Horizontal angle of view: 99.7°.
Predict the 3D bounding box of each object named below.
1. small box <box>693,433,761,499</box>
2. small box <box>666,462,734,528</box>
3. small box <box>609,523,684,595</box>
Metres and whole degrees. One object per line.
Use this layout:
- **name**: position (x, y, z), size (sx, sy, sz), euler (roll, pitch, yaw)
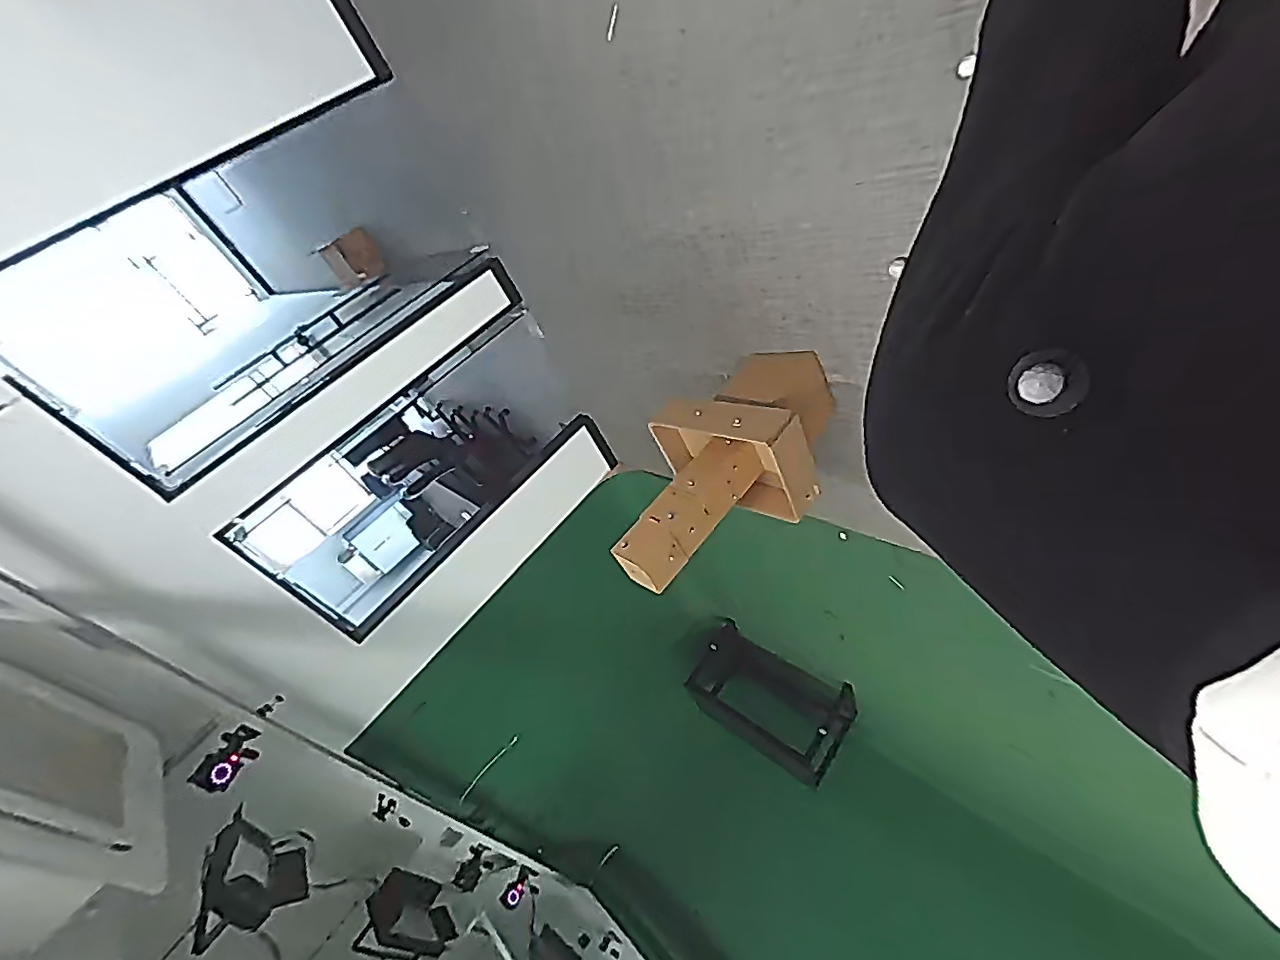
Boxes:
- **small box**: position (0.347, -0.058, 2.120), size (0.168, 0.176, 0.179), euler (18, 146, 49)
- **small box**: position (0.237, 0.050, 2.063), size (0.179, 0.176, 0.168), euler (19, 147, 48)
- **small box**: position (0.027, 0.277, 1.950), size (0.179, 0.176, 0.168), euler (17, 147, 49)
